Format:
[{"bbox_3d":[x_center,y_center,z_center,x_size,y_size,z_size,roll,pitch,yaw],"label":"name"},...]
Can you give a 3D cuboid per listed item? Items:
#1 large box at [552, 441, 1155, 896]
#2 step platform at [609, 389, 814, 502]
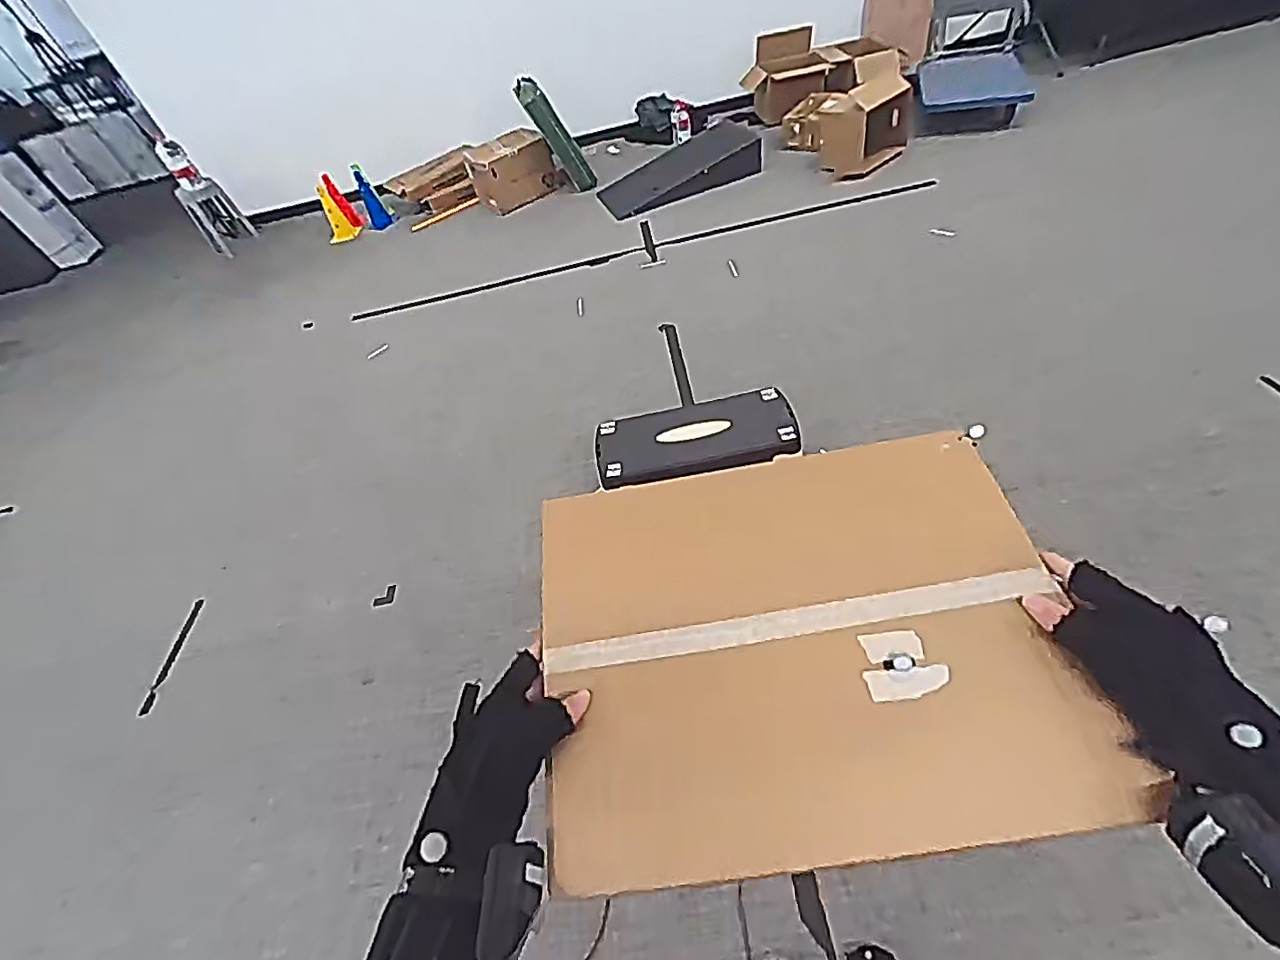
[{"bbox_3d":[0.145,0.205,0.565,0.408,0.320,0.320,-10,56,3],"label":"large box"},{"bbox_3d":[0.234,-0.098,1.859,0.684,0.204,0.286,-12,48,2],"label":"step platform"}]
